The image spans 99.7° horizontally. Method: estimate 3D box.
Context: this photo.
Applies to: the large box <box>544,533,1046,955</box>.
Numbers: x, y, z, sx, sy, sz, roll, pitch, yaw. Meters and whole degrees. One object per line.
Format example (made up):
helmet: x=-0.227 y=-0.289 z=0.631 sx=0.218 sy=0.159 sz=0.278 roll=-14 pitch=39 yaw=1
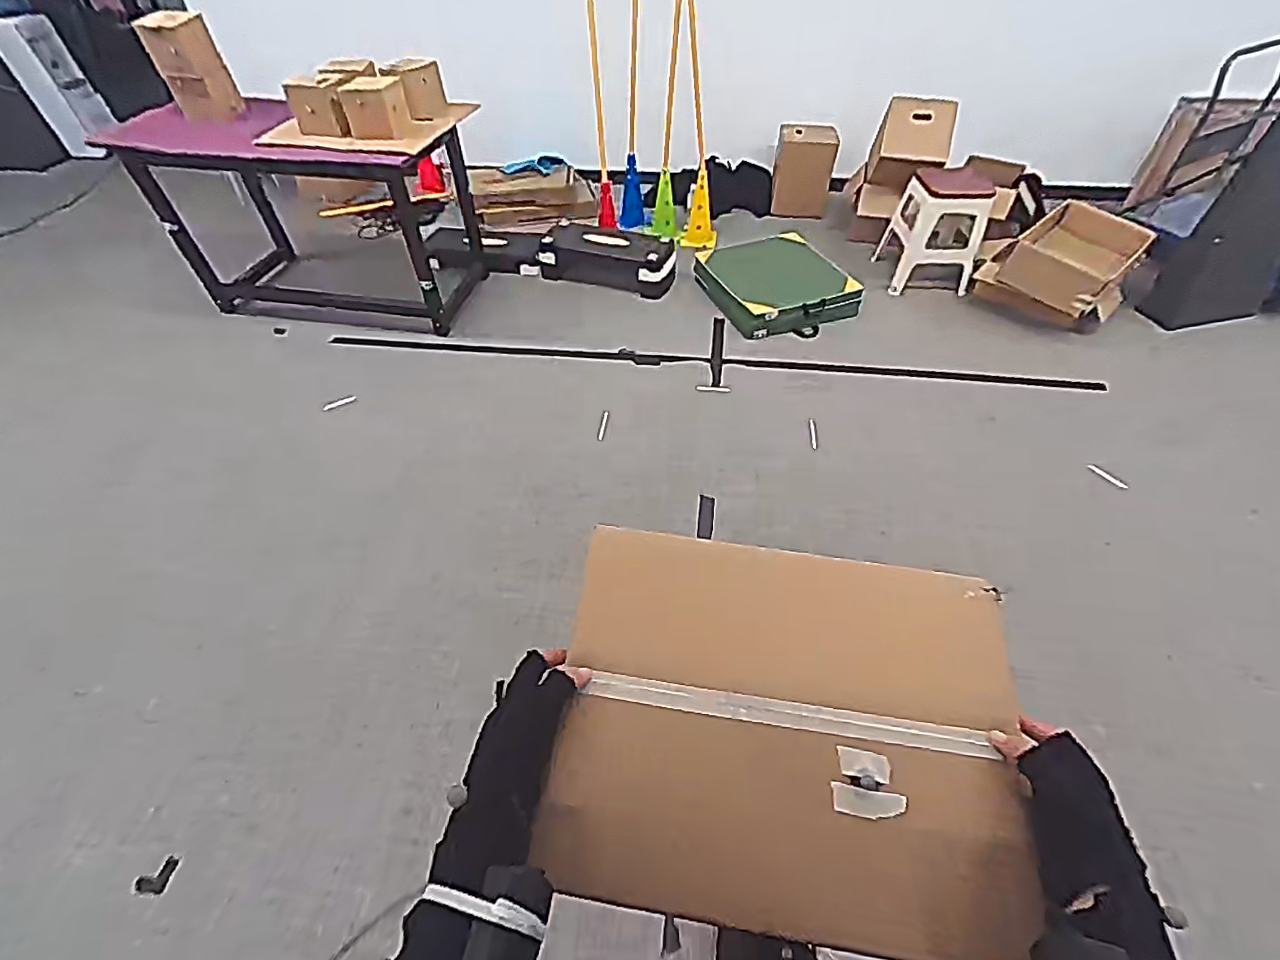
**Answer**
large box: x=0.136 y=0.284 z=0.628 sx=0.408 sy=0.320 sz=0.320 roll=7 pitch=61 yaw=5
